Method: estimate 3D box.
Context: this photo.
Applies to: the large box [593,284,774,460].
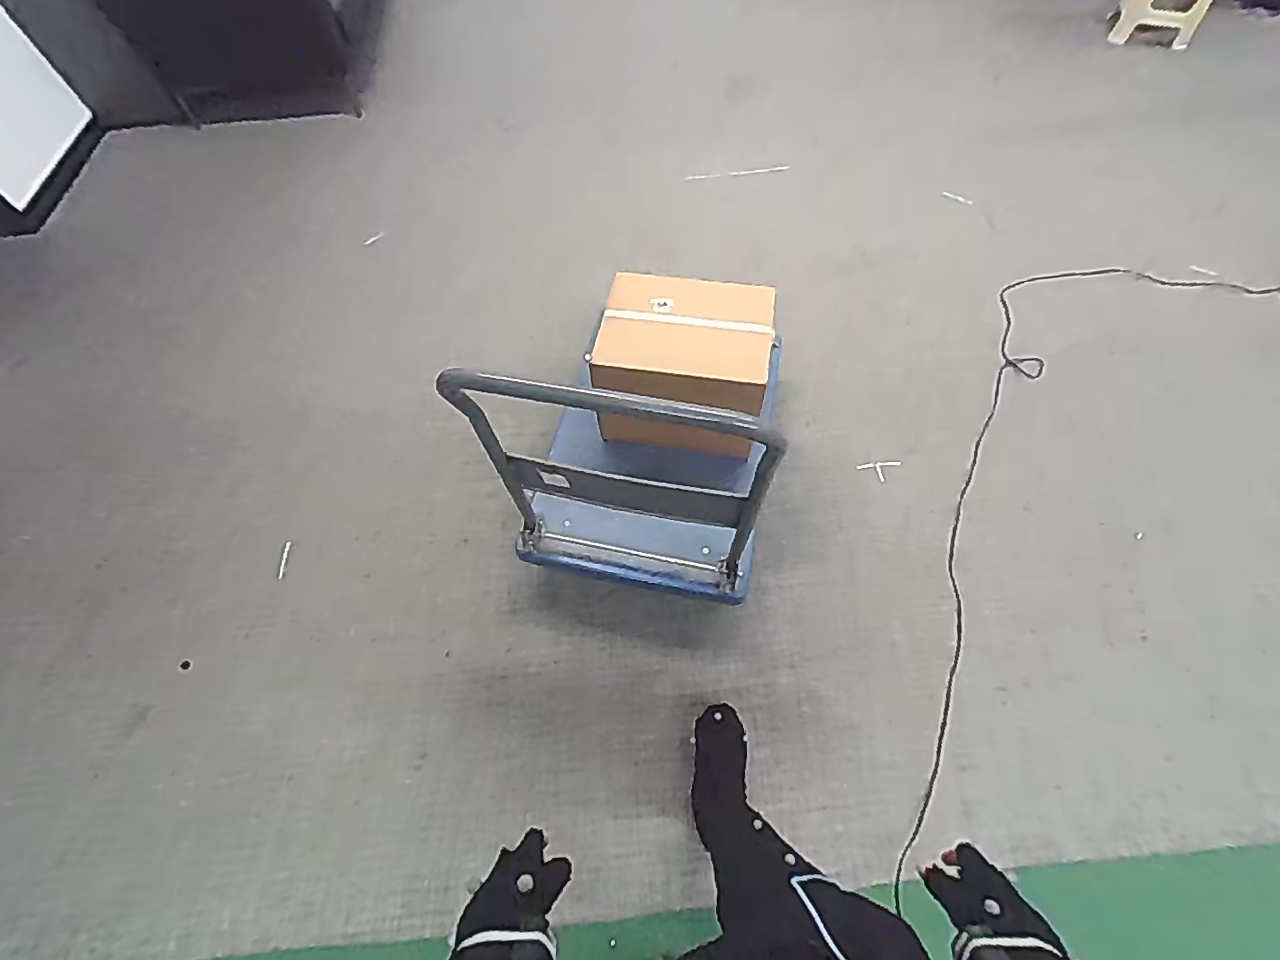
[{"bbox_3d":[0.121,-0.277,1.419,0.408,0.320,0.320,8,60,8],"label":"large box"}]
